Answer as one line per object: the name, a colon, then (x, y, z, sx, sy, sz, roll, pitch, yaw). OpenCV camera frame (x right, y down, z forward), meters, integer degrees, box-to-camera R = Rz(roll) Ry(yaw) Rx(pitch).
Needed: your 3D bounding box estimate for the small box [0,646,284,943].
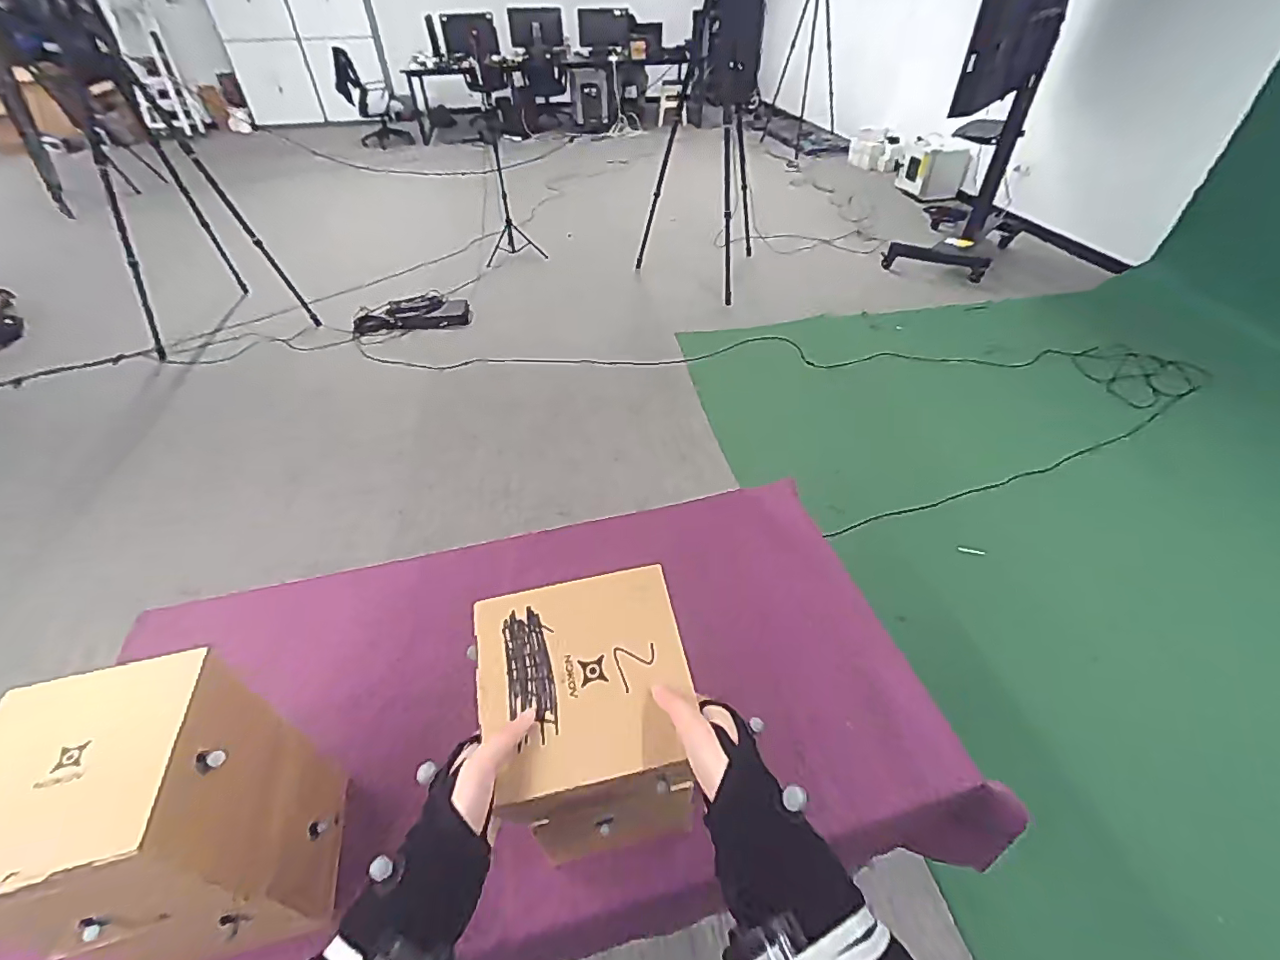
small box: (-0.467, 0.289, 0.505, 0.168, 0.176, 0.179, -11, 45, -10)

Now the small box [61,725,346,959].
small box: (-0.460, 0.411, 0.613, 0.179, 0.176, 0.168, -11, 43, -10)

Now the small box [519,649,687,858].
small box: (-0.046, 0.342, 0.675, 0.179, 0.176, 0.168, -9, 44, -8)
